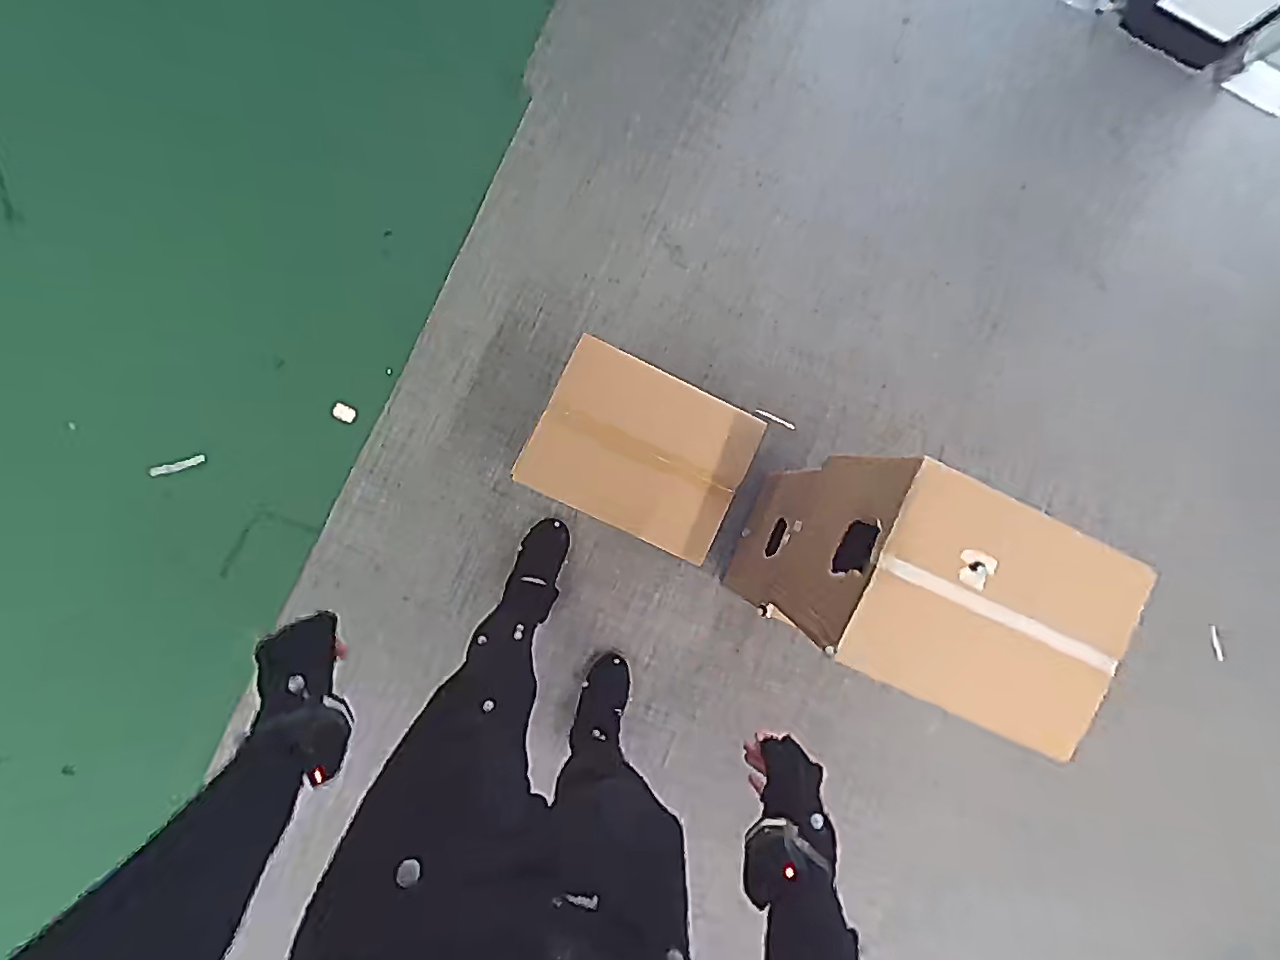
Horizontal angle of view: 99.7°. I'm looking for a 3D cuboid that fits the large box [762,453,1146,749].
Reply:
[{"bbox_3d":[0.484,0.172,0.919,0.408,0.320,0.320,25,91,-5],"label":"large box"}]
